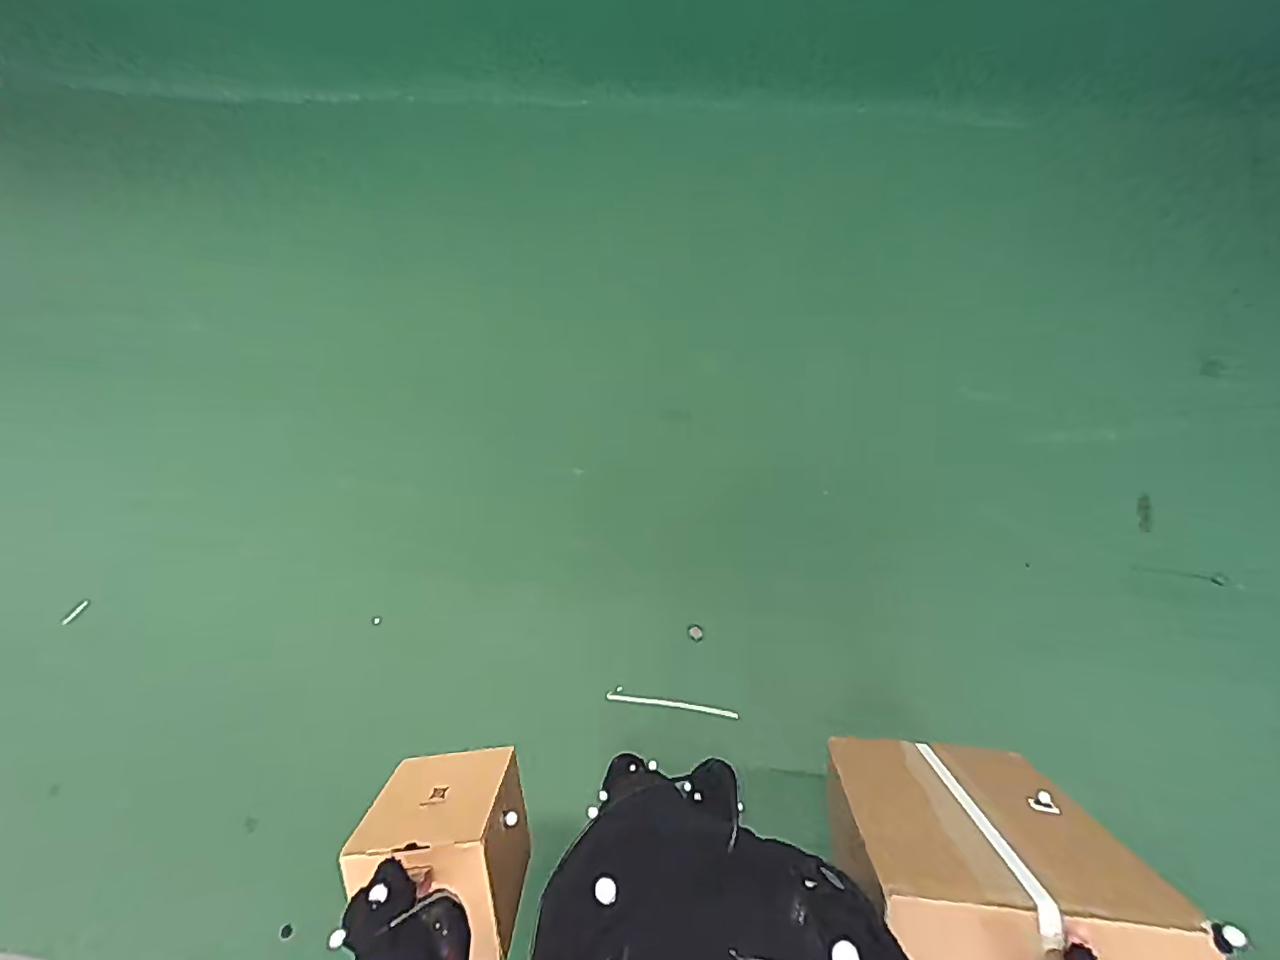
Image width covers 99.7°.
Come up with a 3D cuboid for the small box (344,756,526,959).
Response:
[{"bbox_3d":[-0.253,0.499,0.709,0.168,0.179,0.176,-7,97,1],"label":"small box"}]
